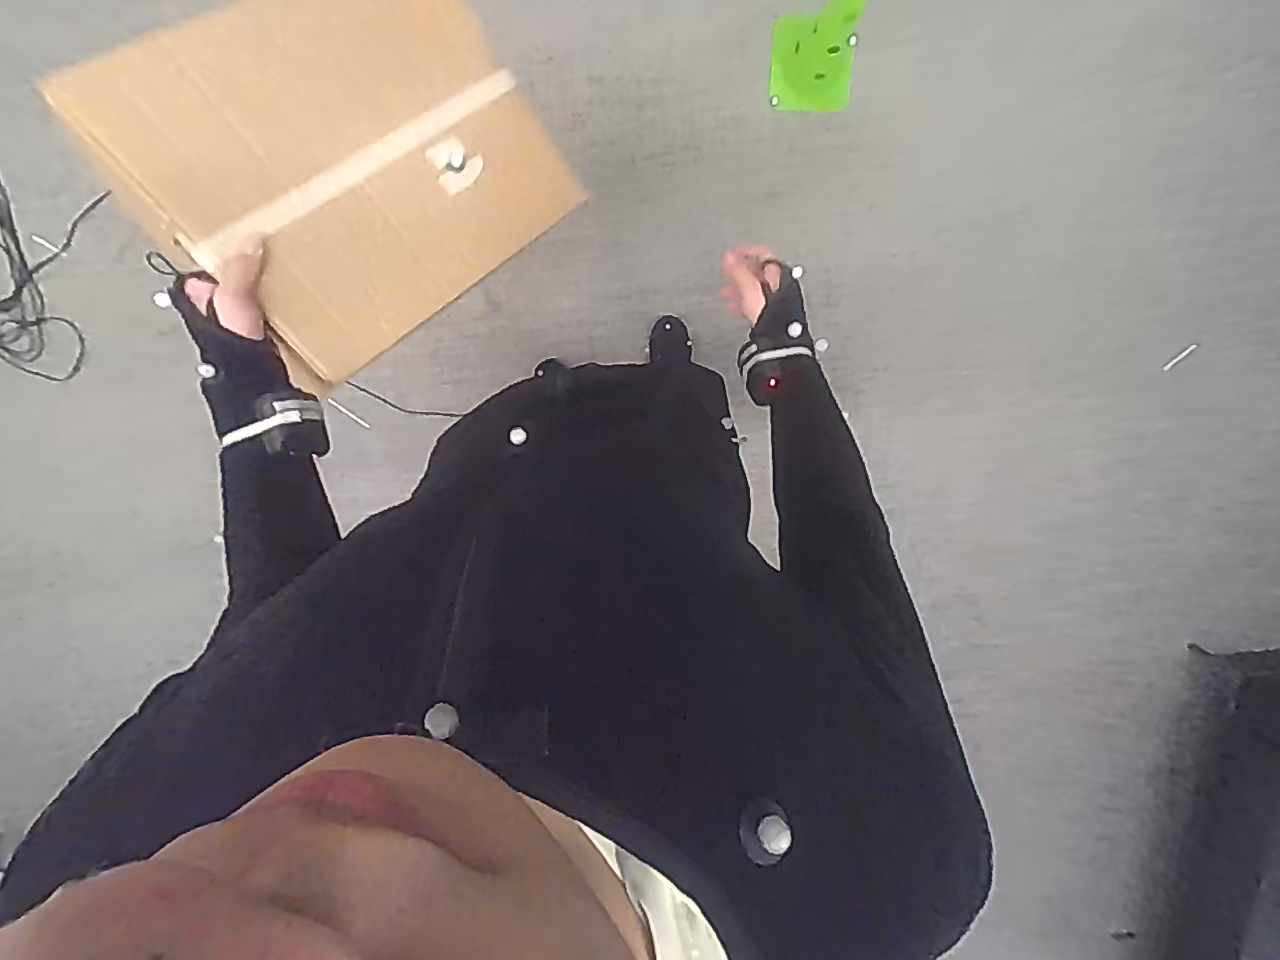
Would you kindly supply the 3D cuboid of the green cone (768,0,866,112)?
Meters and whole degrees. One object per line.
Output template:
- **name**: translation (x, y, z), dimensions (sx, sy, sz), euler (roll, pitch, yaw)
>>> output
- **green cone**: translation (0.418, -0.972, 1.163), dimensions (0.200, 0.368, 0.202), euler (0, 106, 0)
